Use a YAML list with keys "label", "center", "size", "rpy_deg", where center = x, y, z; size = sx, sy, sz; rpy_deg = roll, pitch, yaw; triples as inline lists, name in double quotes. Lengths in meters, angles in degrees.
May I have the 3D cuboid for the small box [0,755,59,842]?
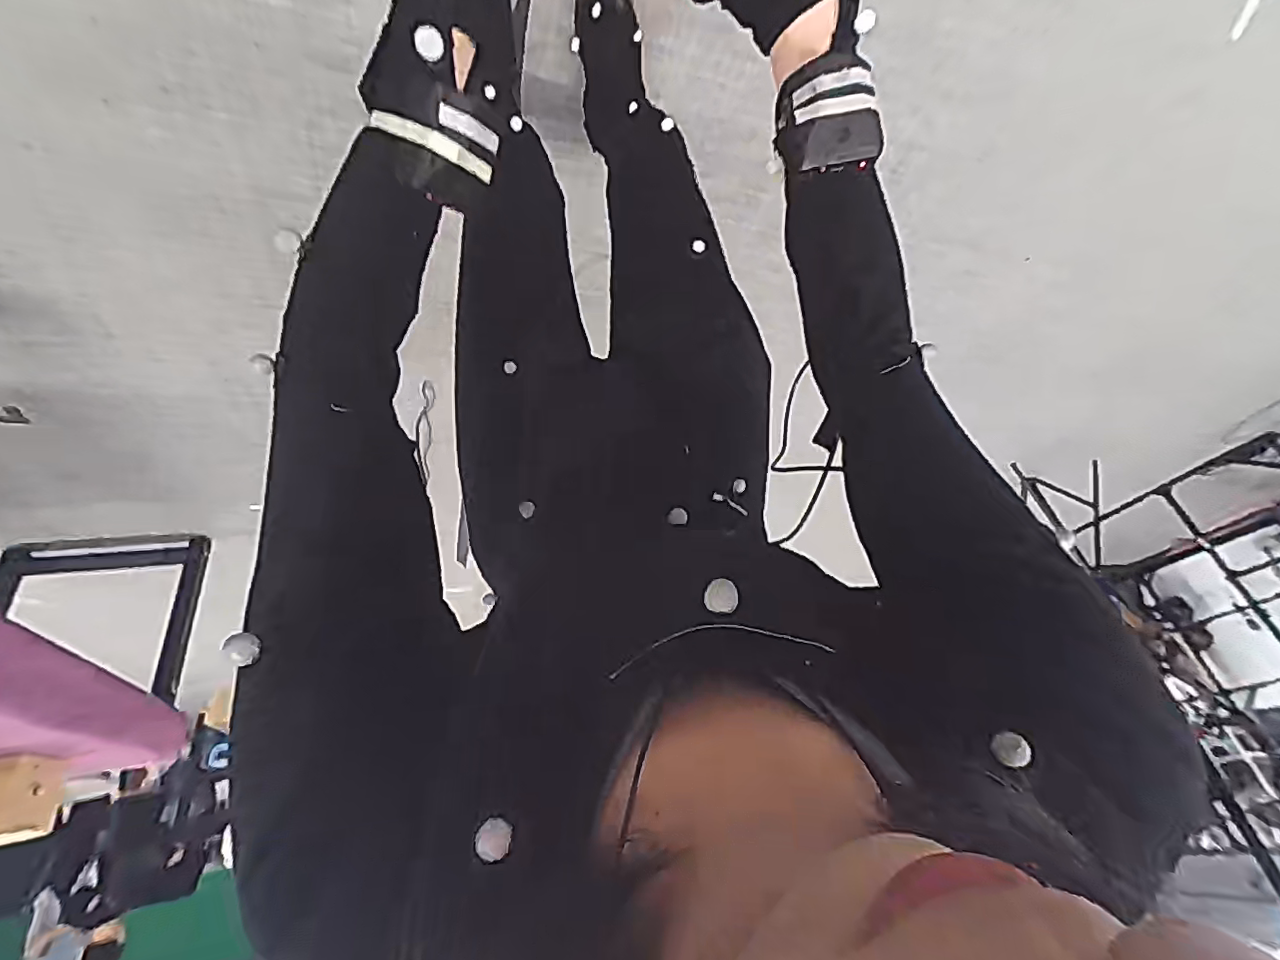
- label: "small box"
  center: [-1.574, 0.777, 1.306]
  size: [0.179, 0.176, 0.168]
  rpy_deg: [-7, 148, -11]
